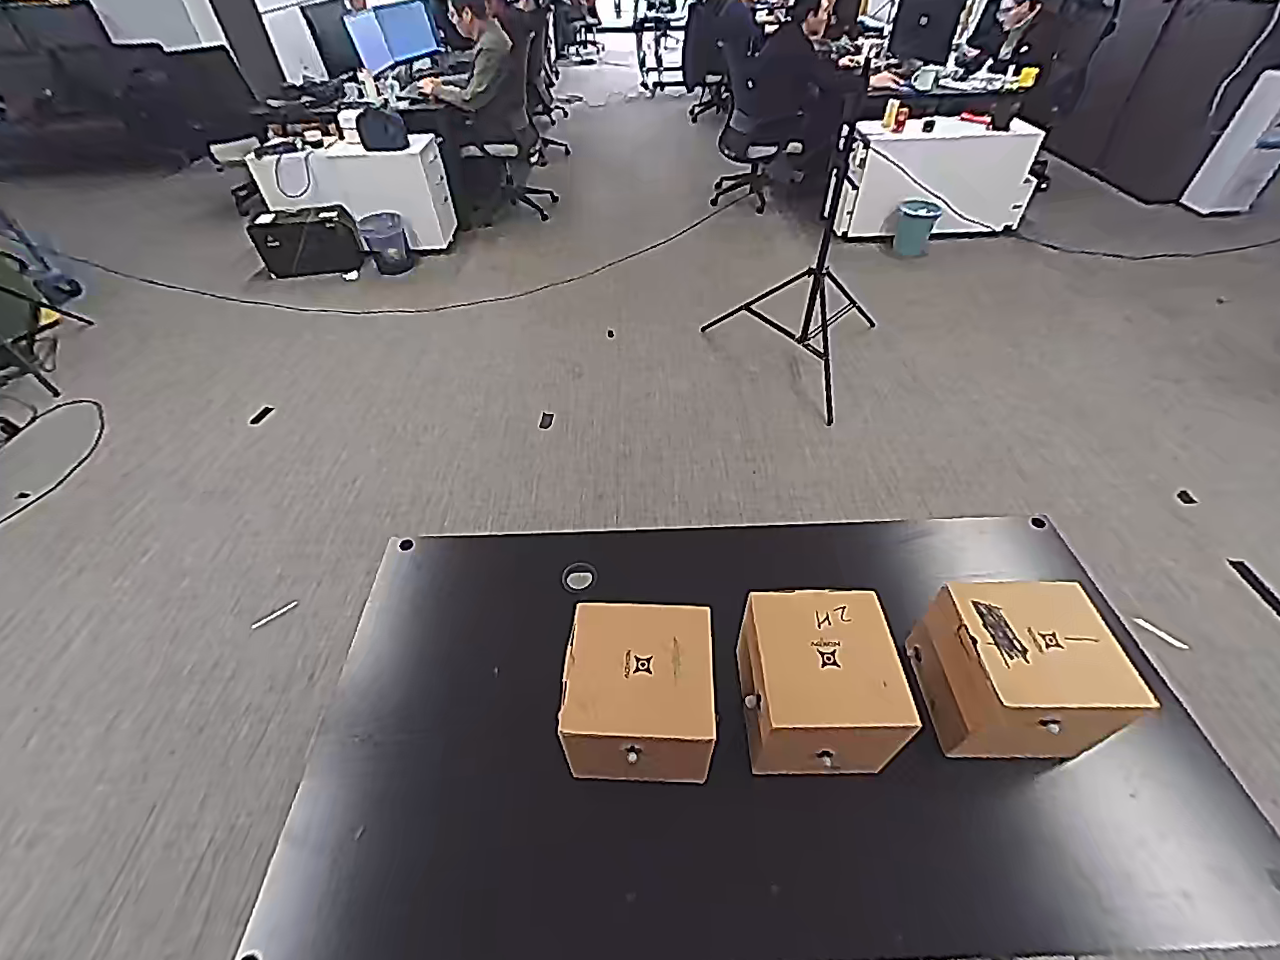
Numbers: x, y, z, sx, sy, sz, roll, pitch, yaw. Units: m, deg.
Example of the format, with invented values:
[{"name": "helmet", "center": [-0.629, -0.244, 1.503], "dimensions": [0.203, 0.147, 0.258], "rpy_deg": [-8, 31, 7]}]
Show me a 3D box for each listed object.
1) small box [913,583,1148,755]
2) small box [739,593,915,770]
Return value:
[{"name": "small box", "center": [0.490, 0.253, 0.721], "dimensions": [0.179, 0.176, 0.168], "rpy_deg": [0, 46, 1]}, {"name": "small box", "center": [0.229, 0.269, 0.716], "dimensions": [0.168, 0.176, 0.179], "rpy_deg": [-1, 45, 1]}]
